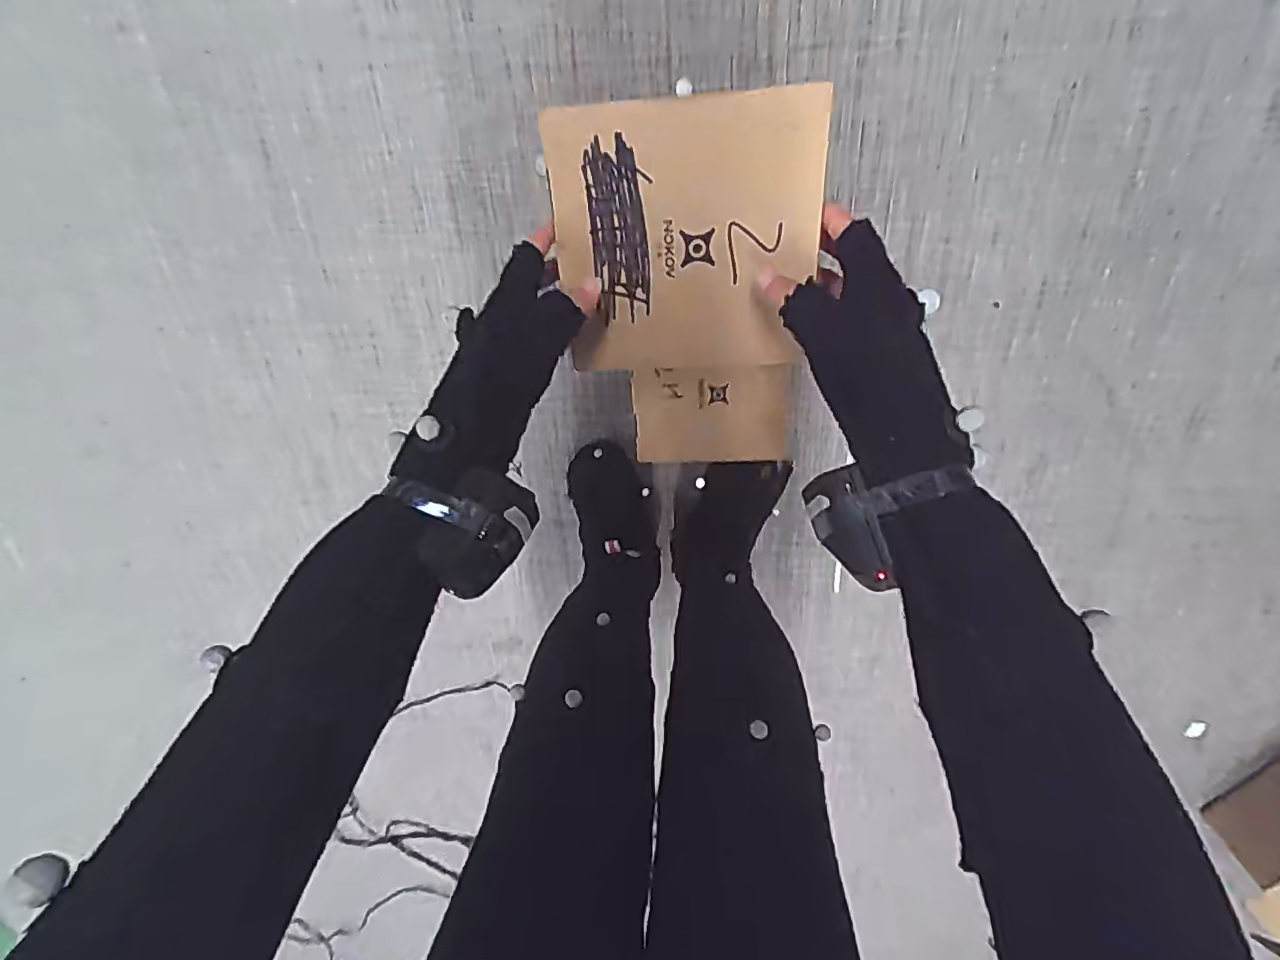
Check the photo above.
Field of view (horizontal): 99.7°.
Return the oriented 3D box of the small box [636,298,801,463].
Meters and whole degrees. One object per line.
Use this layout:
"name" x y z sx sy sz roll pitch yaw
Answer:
"small box" 0.092 -0.130 0.674 0.179 0.176 0.168 0 115 7
